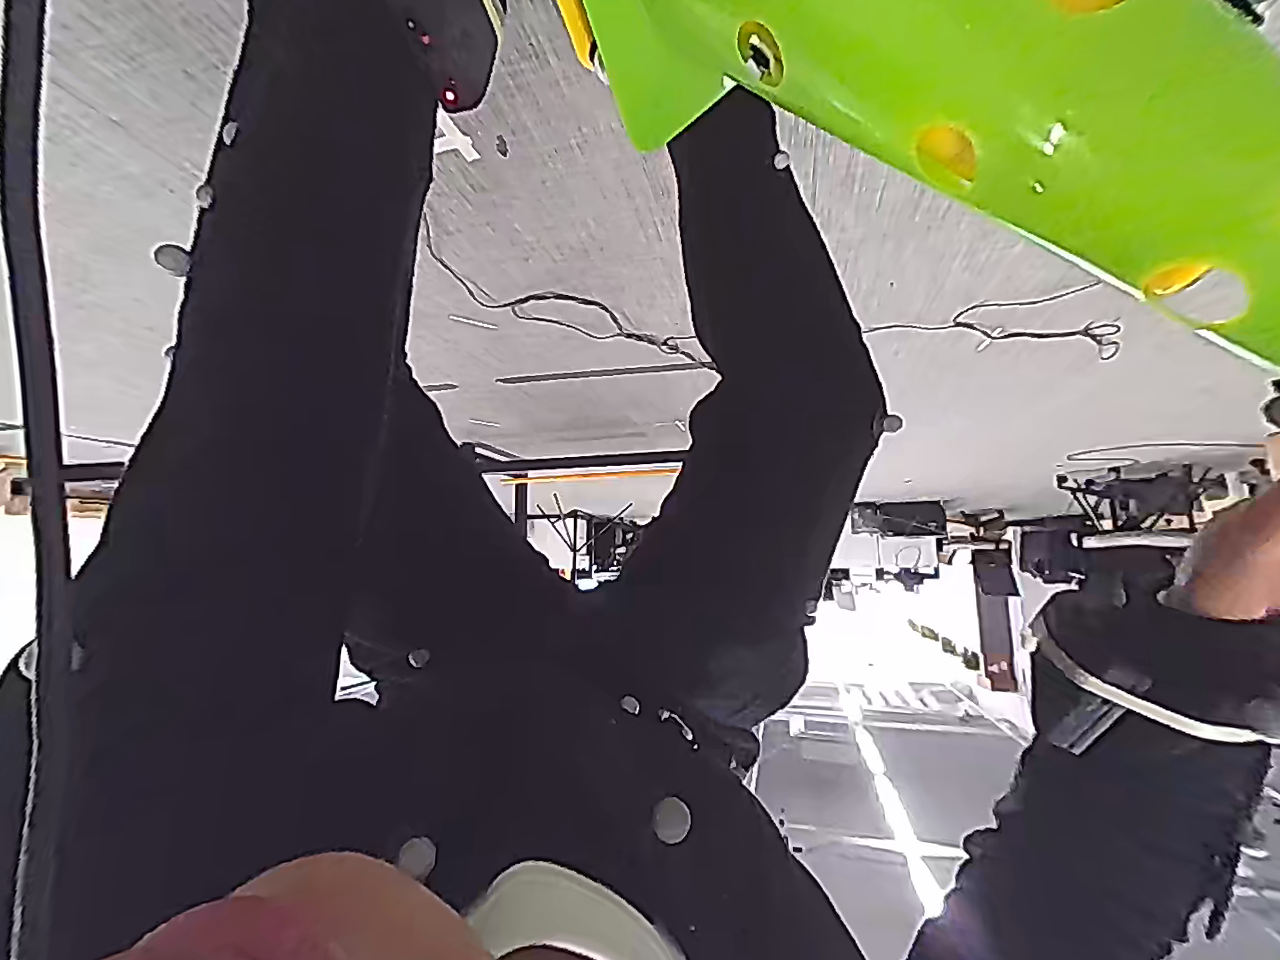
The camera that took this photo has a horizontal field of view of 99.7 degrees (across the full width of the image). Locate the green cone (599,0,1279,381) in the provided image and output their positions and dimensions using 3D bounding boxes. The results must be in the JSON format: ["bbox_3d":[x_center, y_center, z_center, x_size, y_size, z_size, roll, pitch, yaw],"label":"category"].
[{"bbox_3d":[0.159,-0.160,0.213,0.202,0.368,0.200,-38,161,5],"label":"green cone"}]
